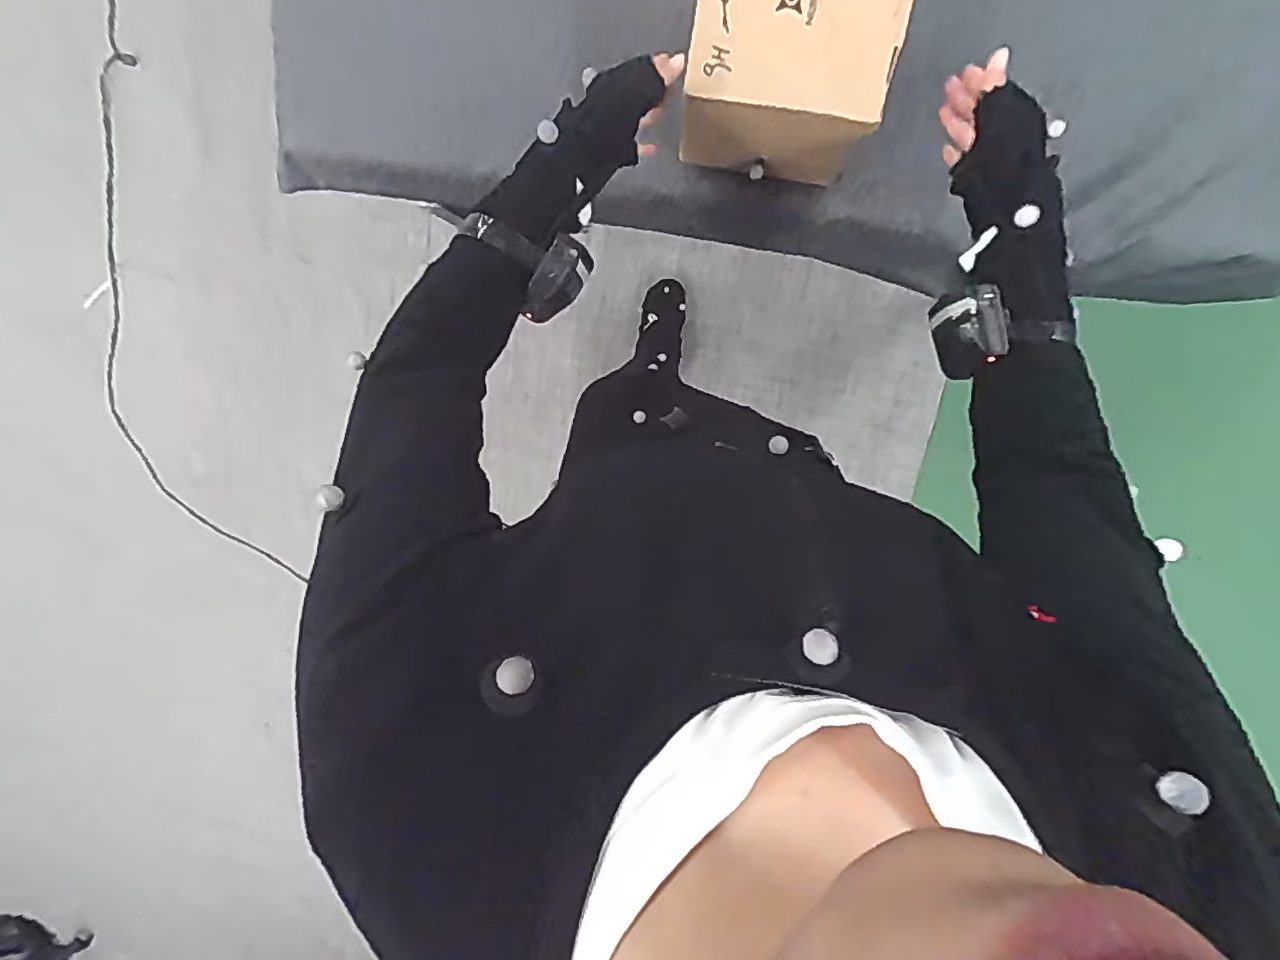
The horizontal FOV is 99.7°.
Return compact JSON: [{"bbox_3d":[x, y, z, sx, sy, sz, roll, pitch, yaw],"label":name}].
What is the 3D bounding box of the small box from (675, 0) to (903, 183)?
[{"bbox_3d":[0.136,-0.416,0.537,0.179,0.176,0.168,9,102,0],"label":"small box"}]
